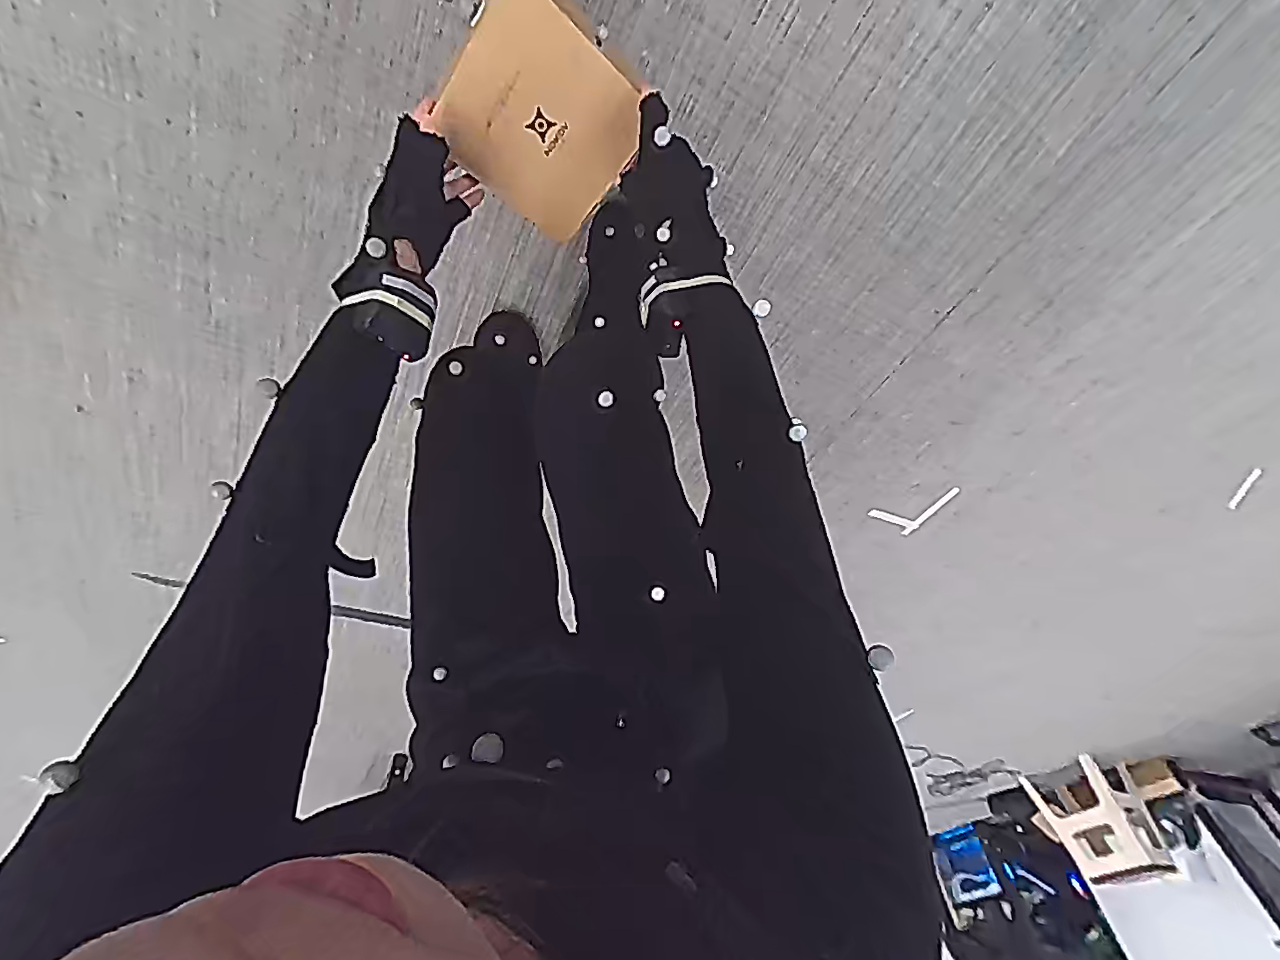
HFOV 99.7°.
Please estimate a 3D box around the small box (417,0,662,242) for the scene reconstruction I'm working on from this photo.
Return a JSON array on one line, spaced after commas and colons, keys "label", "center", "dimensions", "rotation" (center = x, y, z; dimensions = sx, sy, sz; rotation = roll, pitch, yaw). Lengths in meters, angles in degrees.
[{"label": "small box", "center": [-0.104, -0.400, 0.566], "dimensions": [0.179, 0.176, 0.168], "rotation": [26, 127, -35]}]
